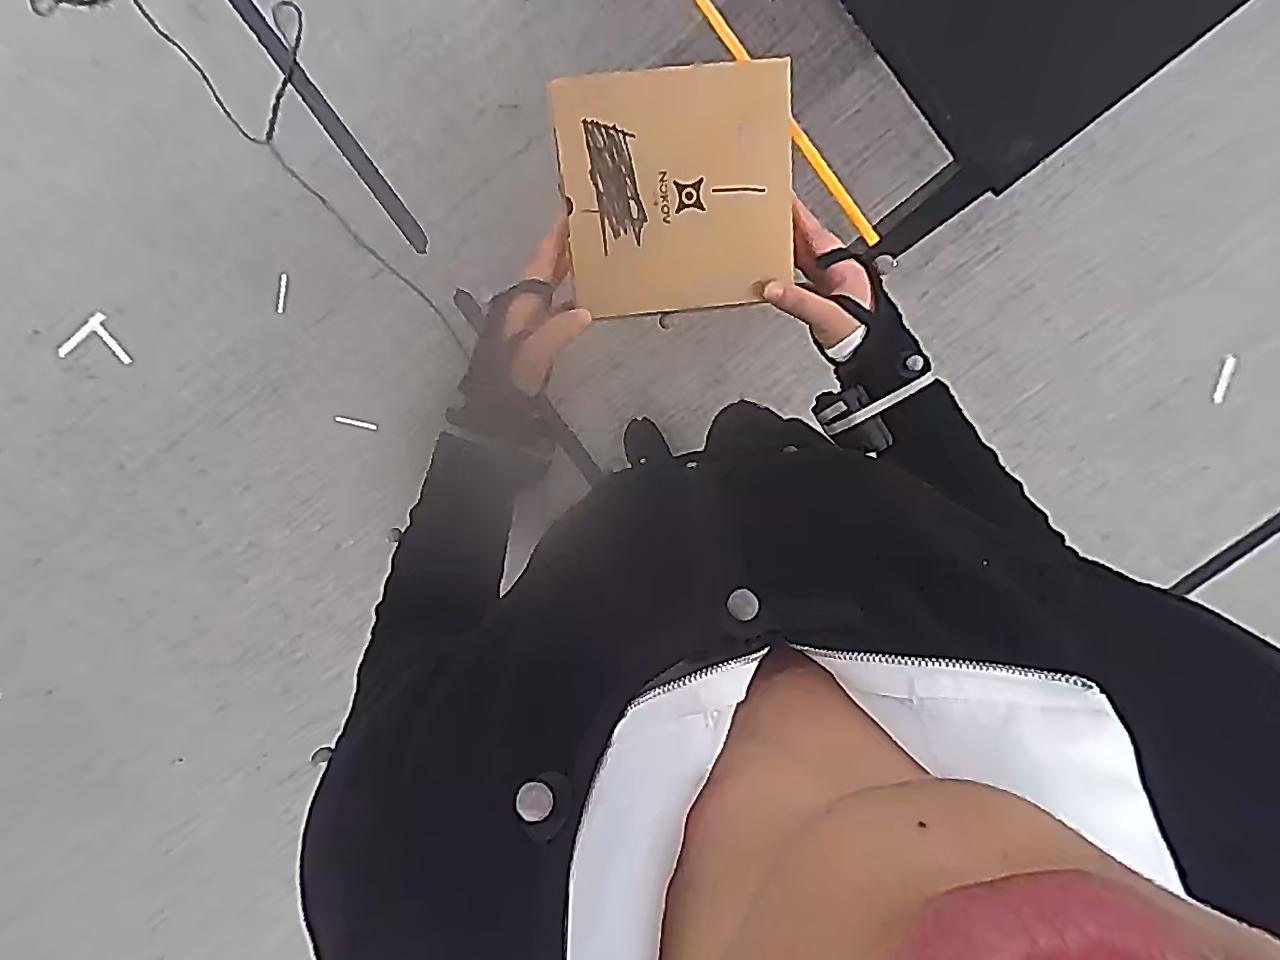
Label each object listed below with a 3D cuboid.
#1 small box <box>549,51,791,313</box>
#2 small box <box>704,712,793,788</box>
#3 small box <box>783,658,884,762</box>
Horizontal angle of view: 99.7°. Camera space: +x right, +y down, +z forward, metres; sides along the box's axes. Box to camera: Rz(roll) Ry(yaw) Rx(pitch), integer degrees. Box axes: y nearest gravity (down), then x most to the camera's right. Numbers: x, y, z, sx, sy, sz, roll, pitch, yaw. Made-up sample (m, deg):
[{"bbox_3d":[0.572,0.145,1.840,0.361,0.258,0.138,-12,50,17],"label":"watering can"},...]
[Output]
[{"bbox_3d":[0.024,-0.243,0.484,0.179,0.176,0.168,-6,107,-2],"label":"small box"},{"bbox_3d":[0.289,0.788,1.495,0.179,0.176,0.168,-39,94,5],"label":"small box"},{"bbox_3d":[0.516,0.611,1.471,0.168,0.176,0.179,-35,93,4],"label":"small box"}]
